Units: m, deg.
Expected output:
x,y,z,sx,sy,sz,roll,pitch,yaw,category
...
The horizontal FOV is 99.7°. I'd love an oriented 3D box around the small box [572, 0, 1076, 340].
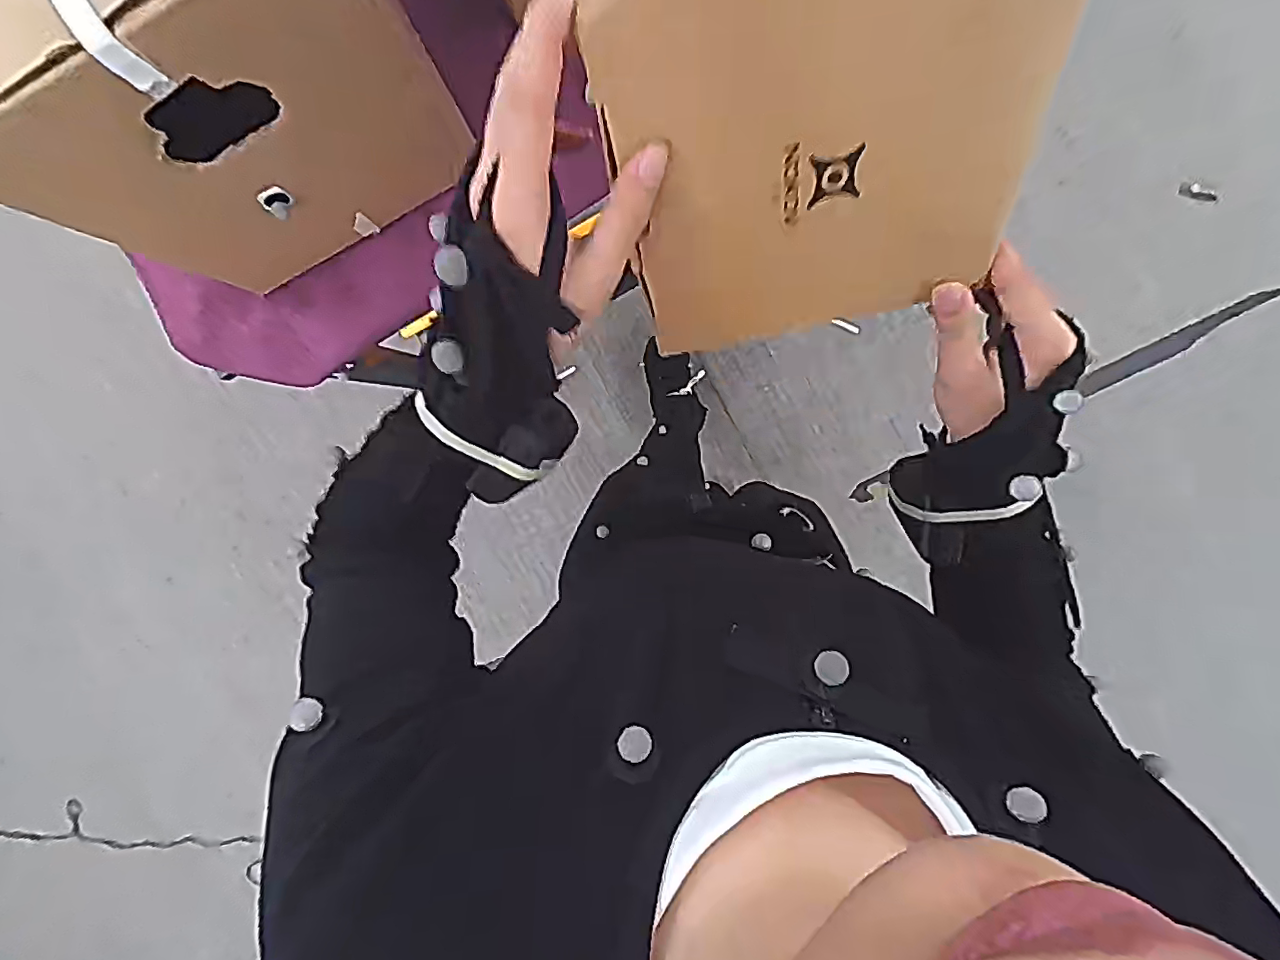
x,y,z,sx,sy,sz,roll,pitch,yaw,category
0.070,-0.204,0.271,0.179,0.168,0.176,-10,56,9,small box
